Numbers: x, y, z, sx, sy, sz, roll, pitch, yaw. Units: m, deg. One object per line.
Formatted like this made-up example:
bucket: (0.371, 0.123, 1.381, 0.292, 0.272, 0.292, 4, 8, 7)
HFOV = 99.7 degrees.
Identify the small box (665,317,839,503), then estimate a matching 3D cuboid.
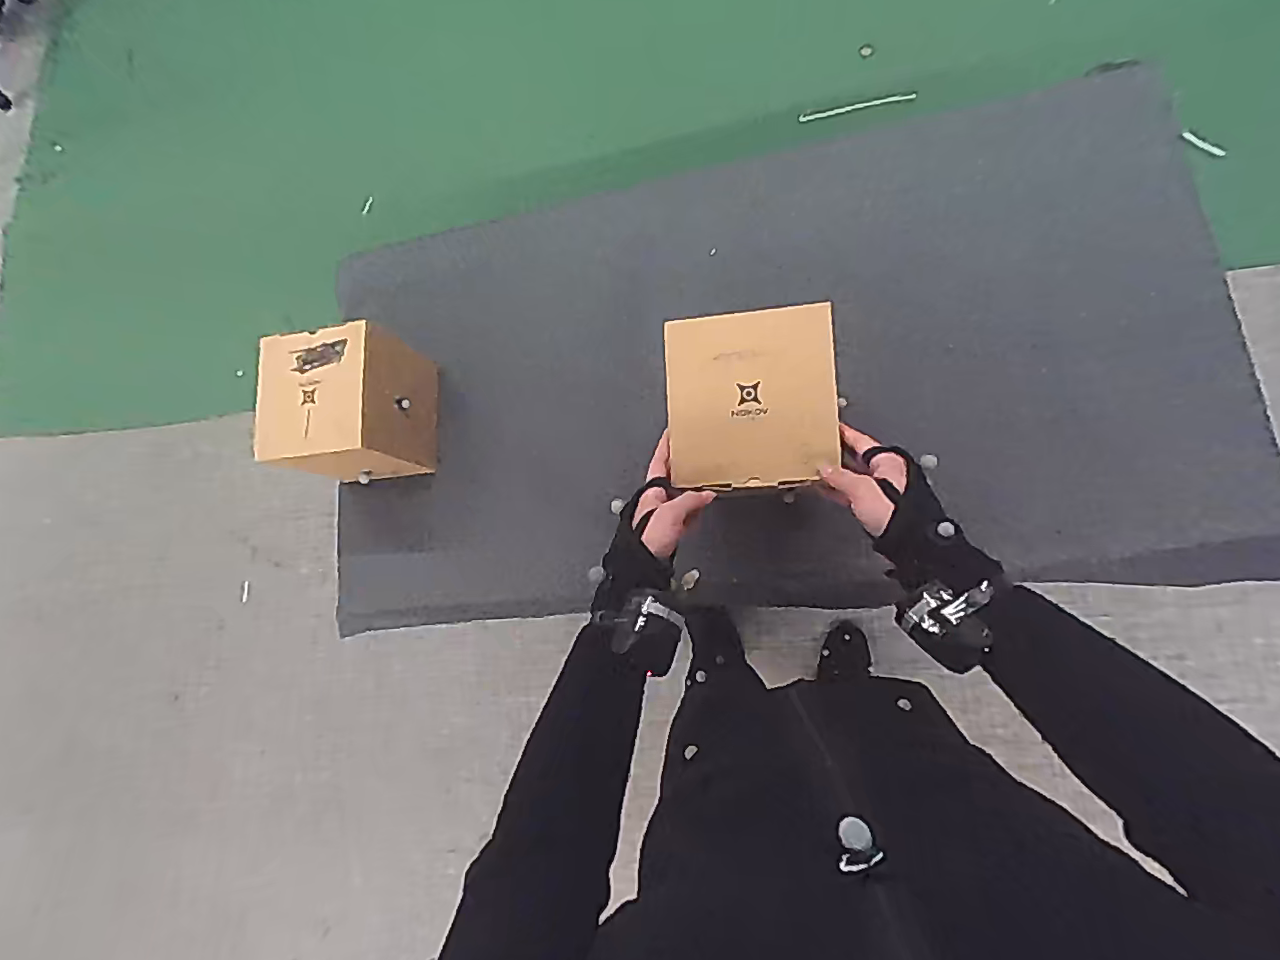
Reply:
small box: (0.126, -0.065, 0.621, 0.168, 0.176, 0.179, -4, 84, 11)

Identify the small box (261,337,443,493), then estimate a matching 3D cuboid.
small box: (-0.406, -0.084, 0.787, 0.168, 0.176, 0.179, -6, 80, 11)
